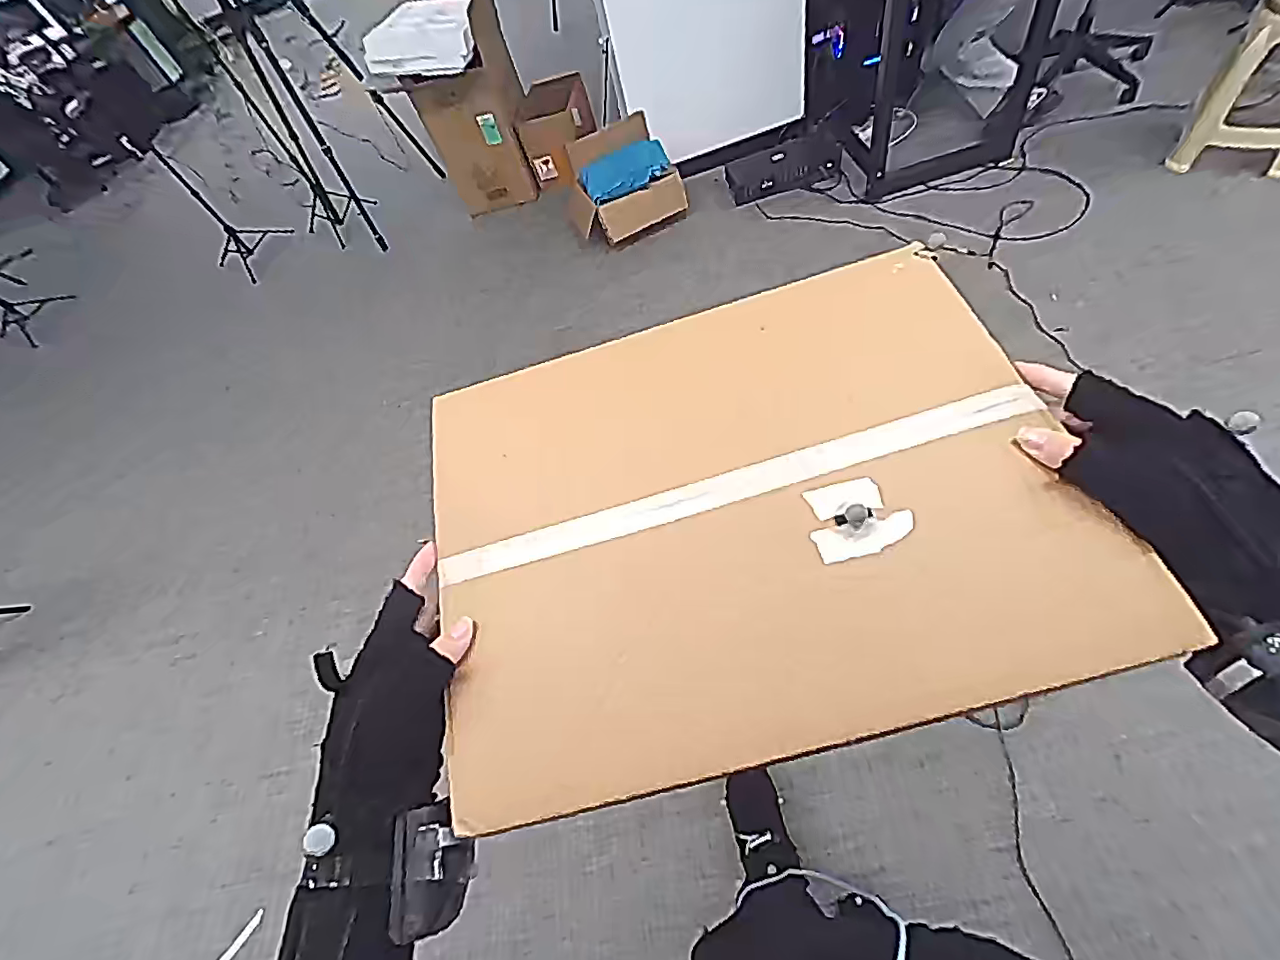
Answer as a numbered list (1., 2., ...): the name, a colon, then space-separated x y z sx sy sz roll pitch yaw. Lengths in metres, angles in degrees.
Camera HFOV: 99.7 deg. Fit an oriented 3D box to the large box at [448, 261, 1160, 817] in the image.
1. large box: 0.087 0.076 0.502 0.408 0.320 0.320 -17 62 3
